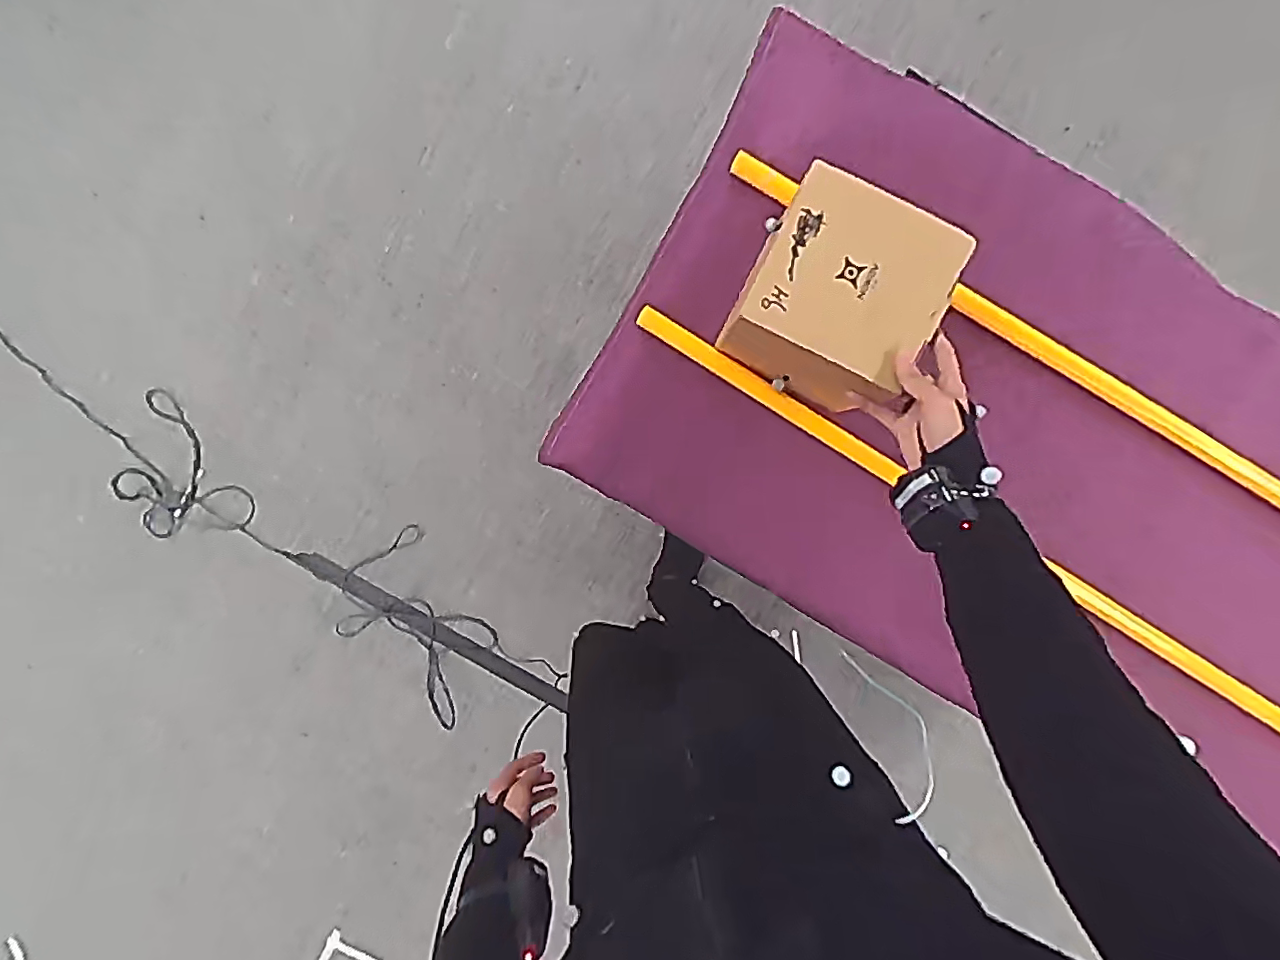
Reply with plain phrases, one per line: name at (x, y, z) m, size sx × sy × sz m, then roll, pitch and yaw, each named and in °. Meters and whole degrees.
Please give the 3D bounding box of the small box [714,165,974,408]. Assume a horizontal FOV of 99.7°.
small box at (0.201, -0.188, 0.586) m, size 0.179 × 0.176 × 0.168 m, roll 27°, pitch 91°, yaw -2°
